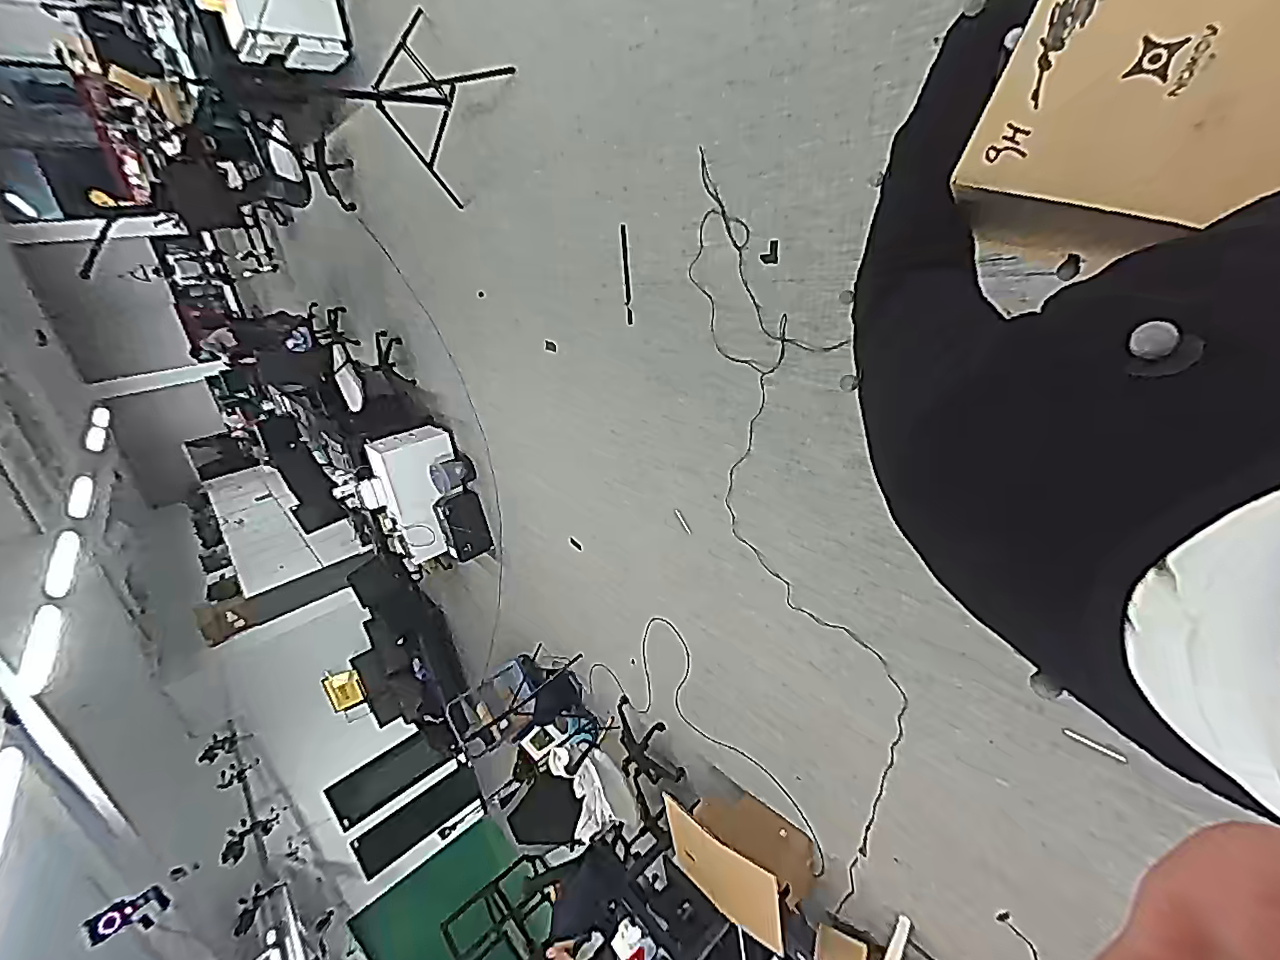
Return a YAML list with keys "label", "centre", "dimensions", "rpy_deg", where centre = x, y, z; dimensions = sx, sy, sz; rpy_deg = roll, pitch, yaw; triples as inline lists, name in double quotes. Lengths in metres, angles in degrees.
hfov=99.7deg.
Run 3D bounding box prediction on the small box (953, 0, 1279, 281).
- label: "small box"
  centre: [0.362, -0.256, 0.387]
  dimensions: [0.179, 0.176, 0.168]
  rpy_deg: [32, 112, 29]
